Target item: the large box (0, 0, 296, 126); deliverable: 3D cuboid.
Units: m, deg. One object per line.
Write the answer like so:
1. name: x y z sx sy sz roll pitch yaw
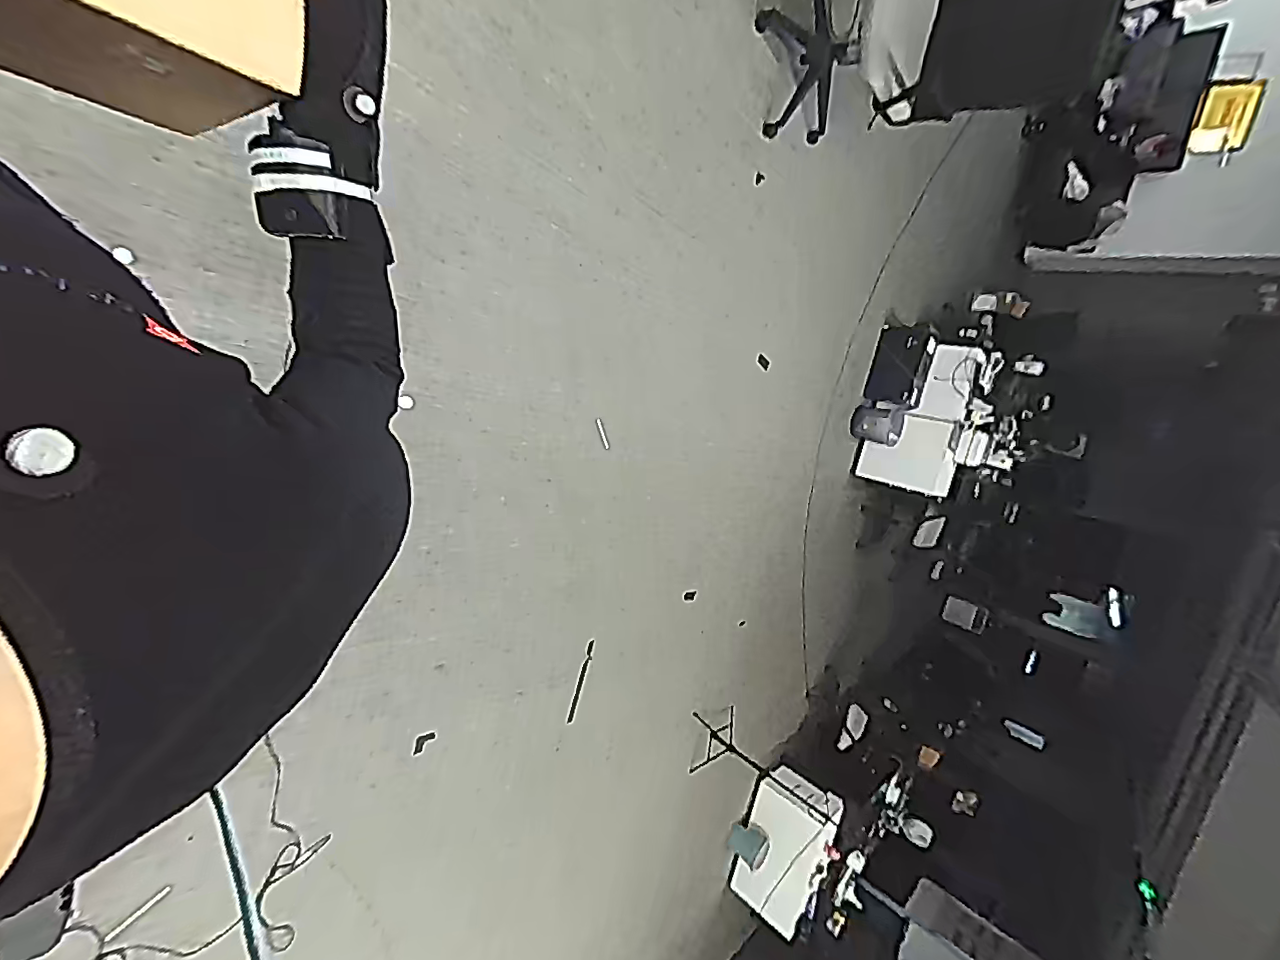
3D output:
1. large box: -0.452 -0.451 0.279 0.408 0.320 0.320 -4 110 -50
